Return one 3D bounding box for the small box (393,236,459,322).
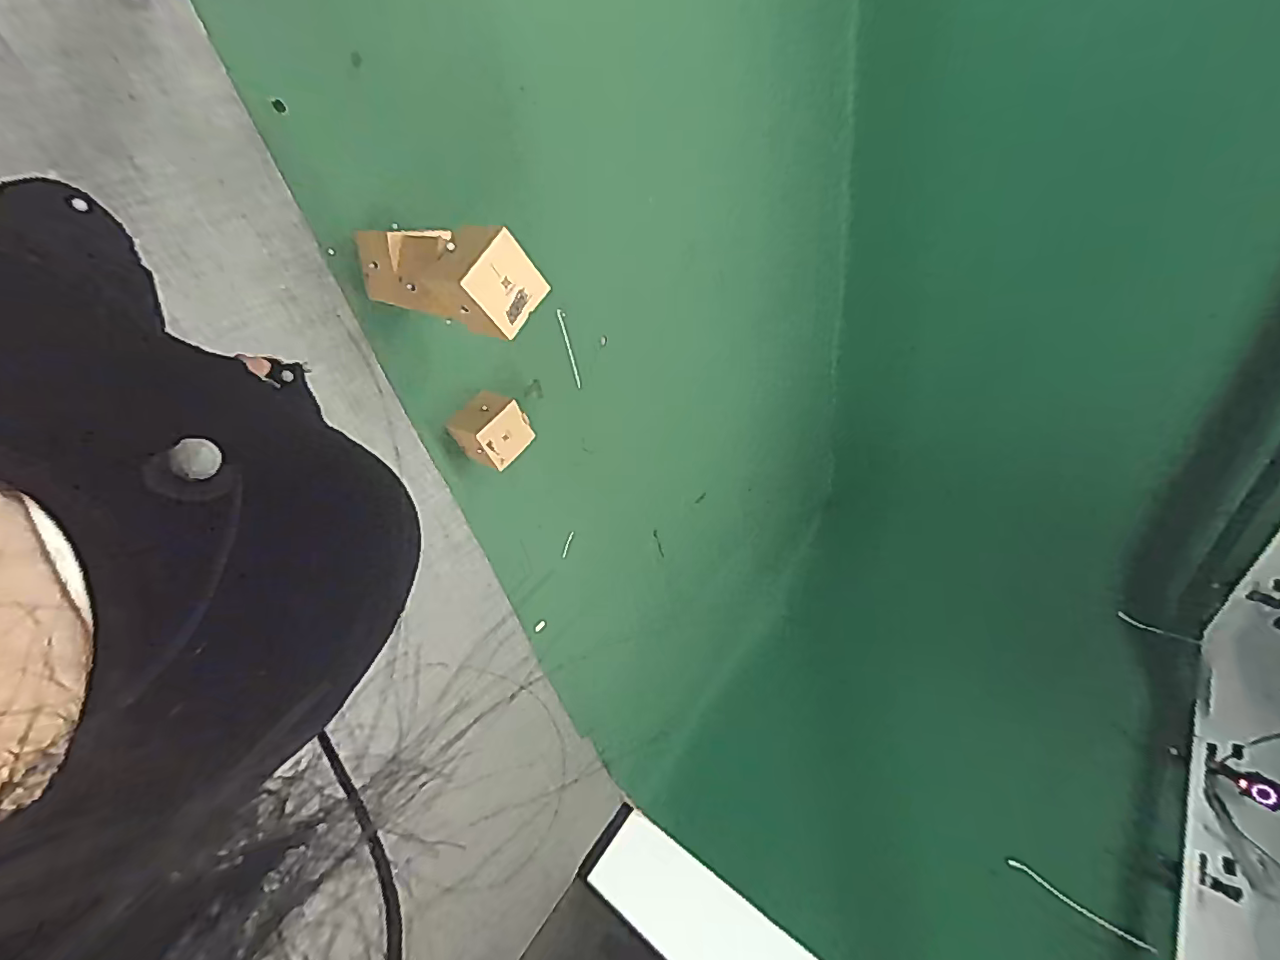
[{"bbox_3d":[-0.475,-0.483,1.319,0.179,0.176,0.168,0,108,-54],"label":"small box"}]

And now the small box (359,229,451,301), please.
[{"bbox_3d":[-0.601,-0.556,1.396,0.179,0.176,0.168,-28,128,-43],"label":"small box"}]

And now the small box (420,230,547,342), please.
[{"bbox_3d":[-0.350,-0.442,1.218,0.168,0.176,0.179,-58,142,-14],"label":"small box"}]

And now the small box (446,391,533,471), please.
[{"bbox_3d":[-0.486,-0.164,1.742,0.179,0.176,0.168,-51,141,-26],"label":"small box"}]
